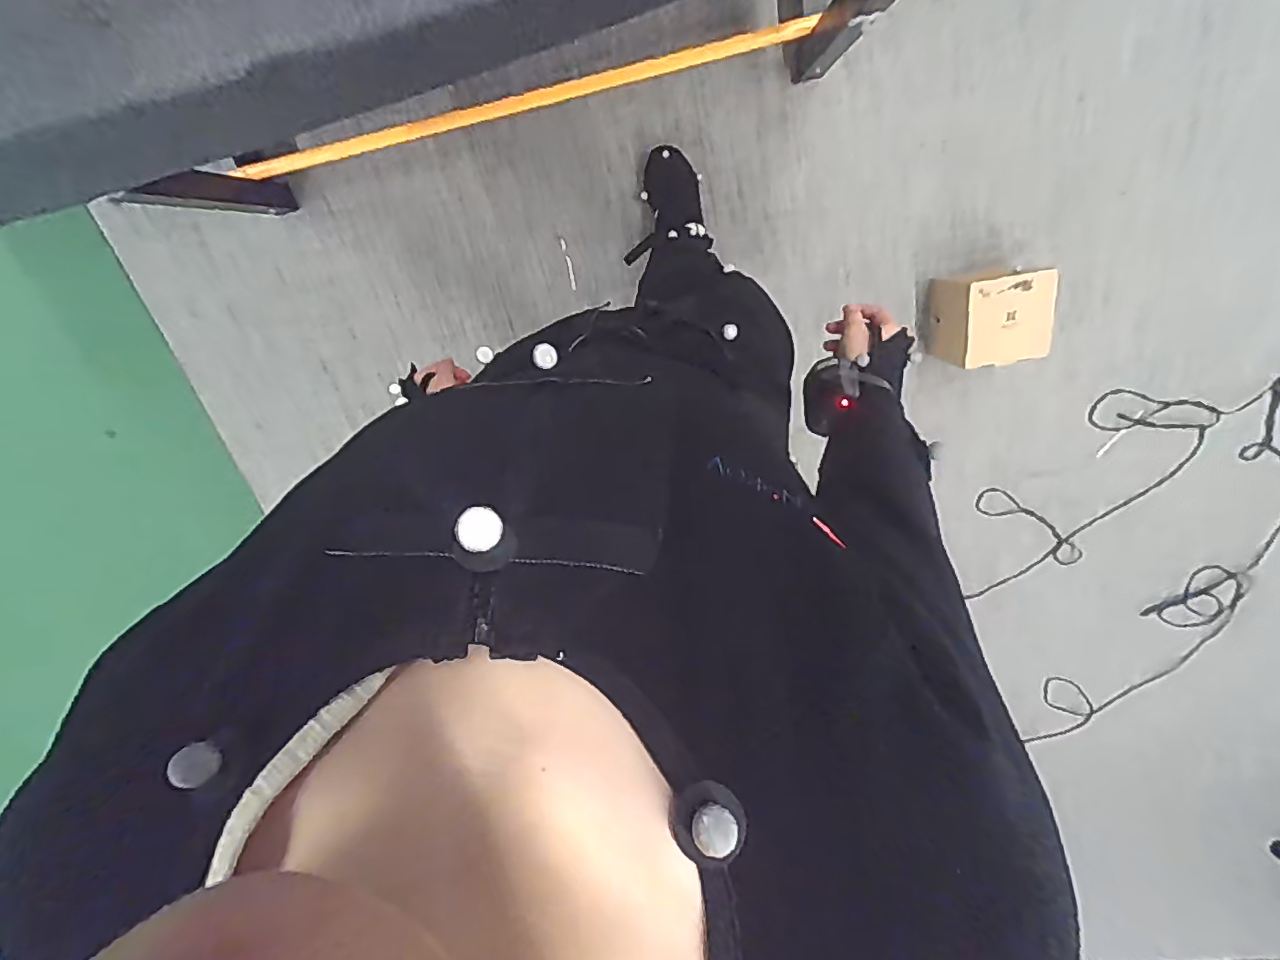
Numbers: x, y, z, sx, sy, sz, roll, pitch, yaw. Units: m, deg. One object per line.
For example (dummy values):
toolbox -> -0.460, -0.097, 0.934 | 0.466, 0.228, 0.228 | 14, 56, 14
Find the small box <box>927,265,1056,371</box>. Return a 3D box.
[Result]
small box -> 0.734, -0.348, 1.151 | 0.168, 0.176, 0.179 | -9, 114, 5
